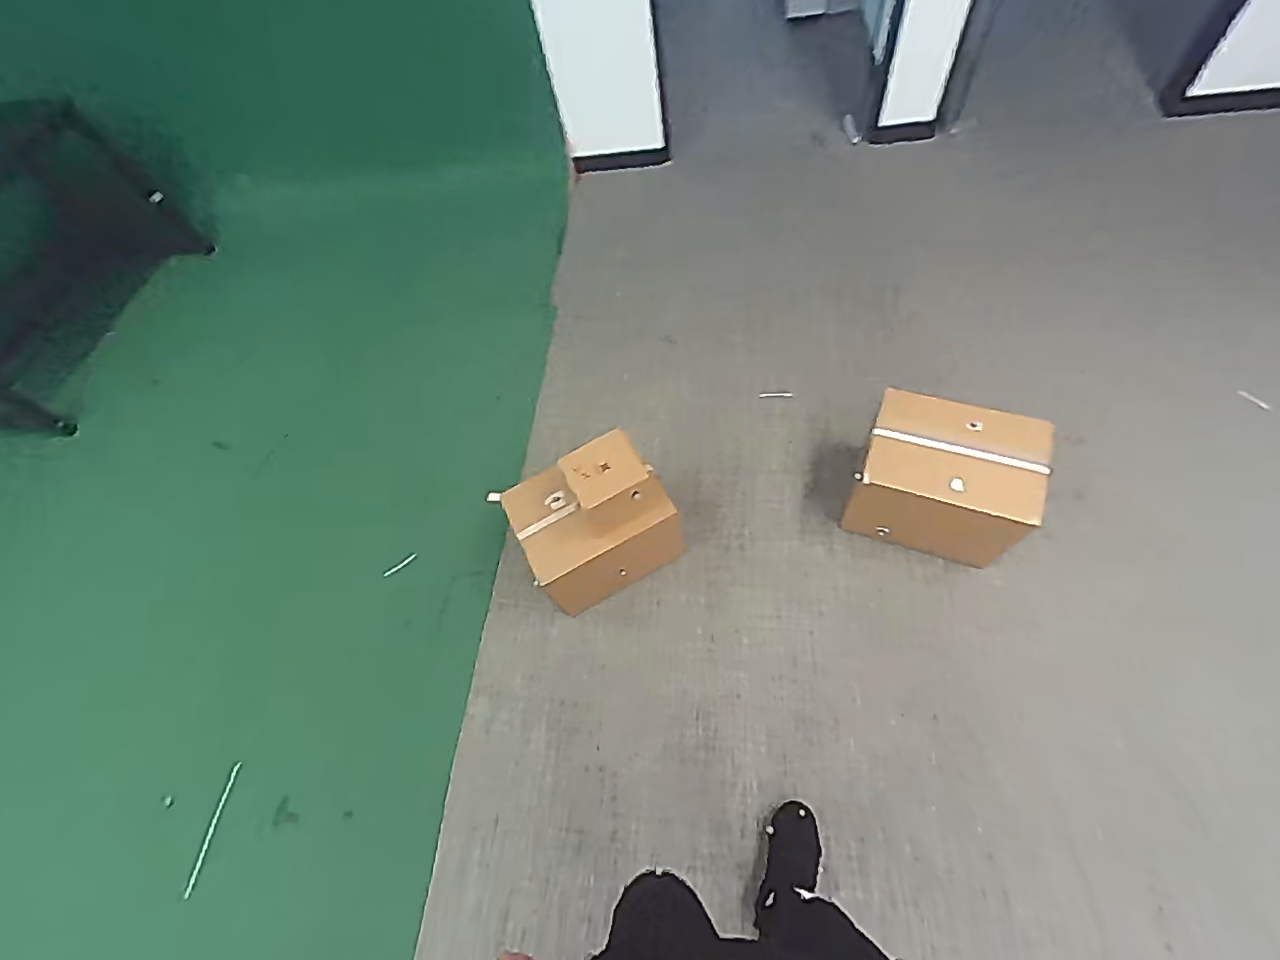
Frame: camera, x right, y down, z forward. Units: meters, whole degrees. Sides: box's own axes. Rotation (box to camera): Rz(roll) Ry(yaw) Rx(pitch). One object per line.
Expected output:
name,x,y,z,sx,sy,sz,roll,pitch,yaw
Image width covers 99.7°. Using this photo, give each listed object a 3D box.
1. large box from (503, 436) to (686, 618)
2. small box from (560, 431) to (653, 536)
large box,-0.119,0.143,1.584,0.408,0.320,0.320,-29,59,-6
small box,-0.076,0.013,1.363,0.179,0.176,0.168,-29,61,-7
